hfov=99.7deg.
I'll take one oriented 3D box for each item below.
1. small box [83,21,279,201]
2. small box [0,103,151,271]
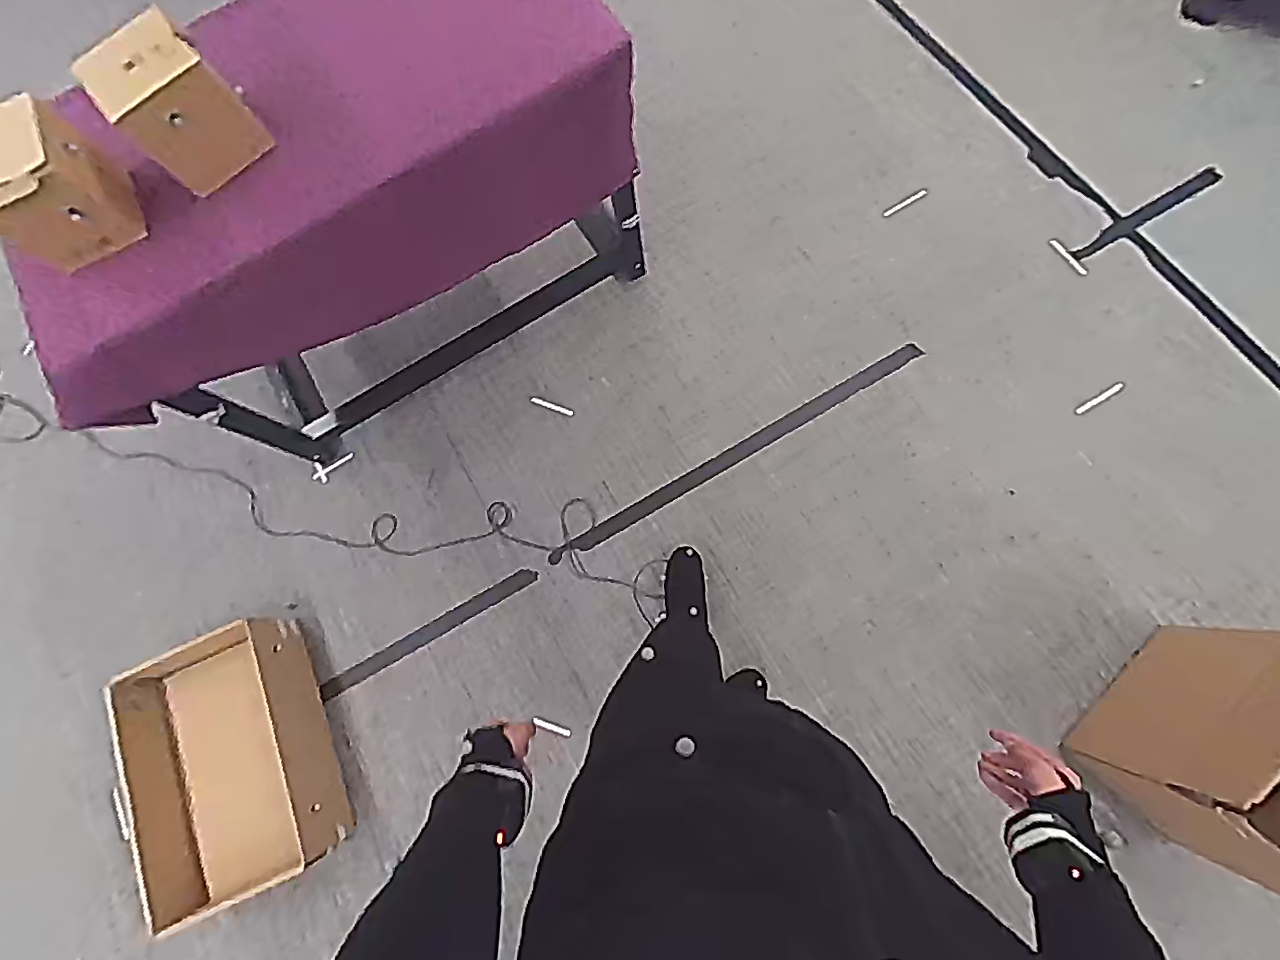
[{"bbox_3d":[-0.805,-0.646,0.965,0.179,0.176,0.168,-40,76,-5],"label":"small box"},{"bbox_3d":[-1.020,-0.499,0.952,0.168,0.176,0.179,-27,75,-2],"label":"small box"}]
